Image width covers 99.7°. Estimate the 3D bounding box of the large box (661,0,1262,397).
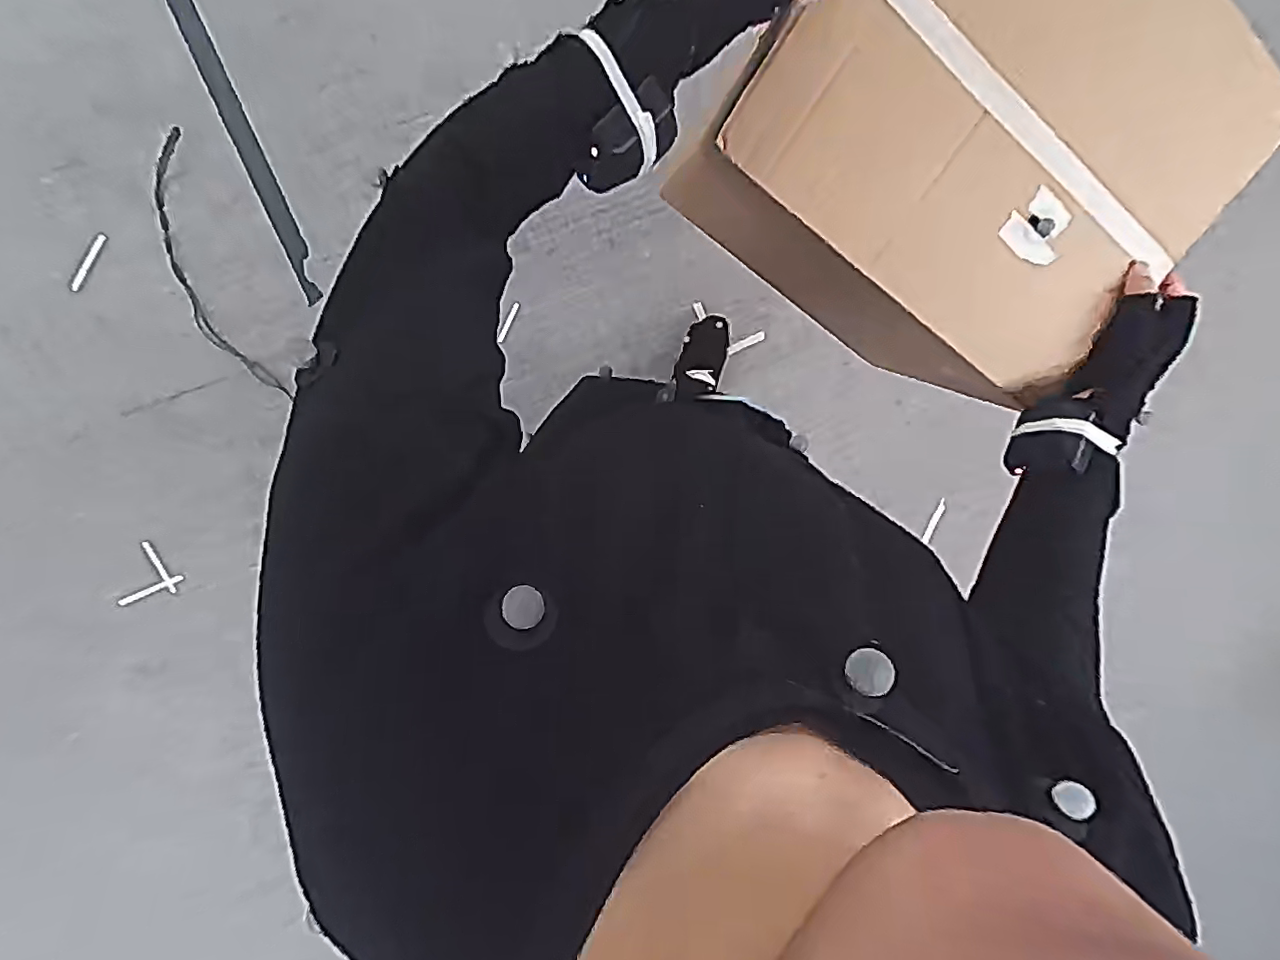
[{"bbox_3d":[0.285,-0.350,0.592,0.408,0.320,0.320,30,106,-17],"label":"large box"}]
